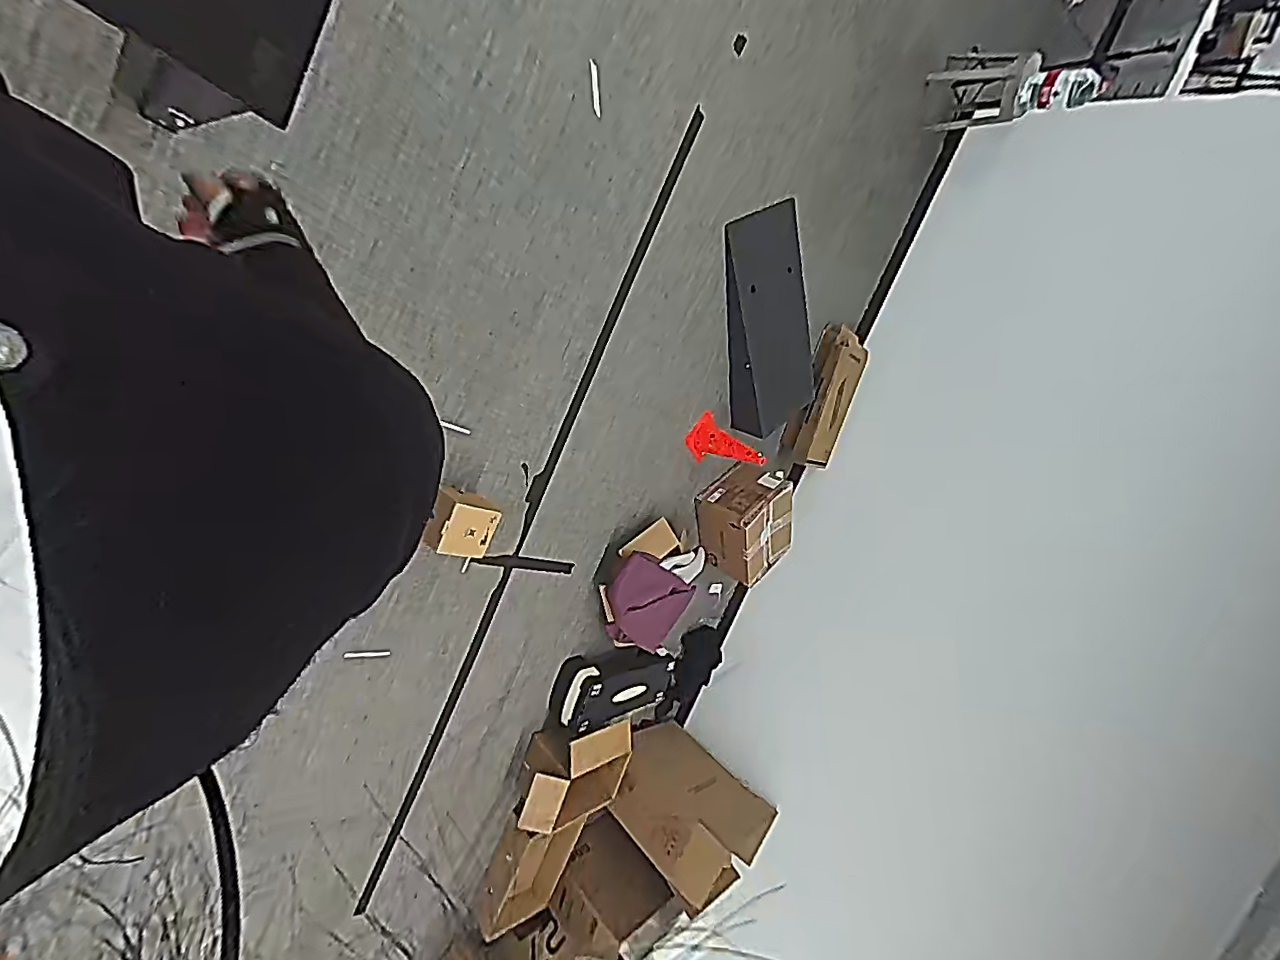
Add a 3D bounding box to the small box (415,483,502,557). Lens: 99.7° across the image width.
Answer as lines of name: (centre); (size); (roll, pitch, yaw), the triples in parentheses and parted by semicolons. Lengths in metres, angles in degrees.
small box: (-0.576, 0.124, 1.703); (0.179, 0.176, 0.168); (21, 95, -51)
